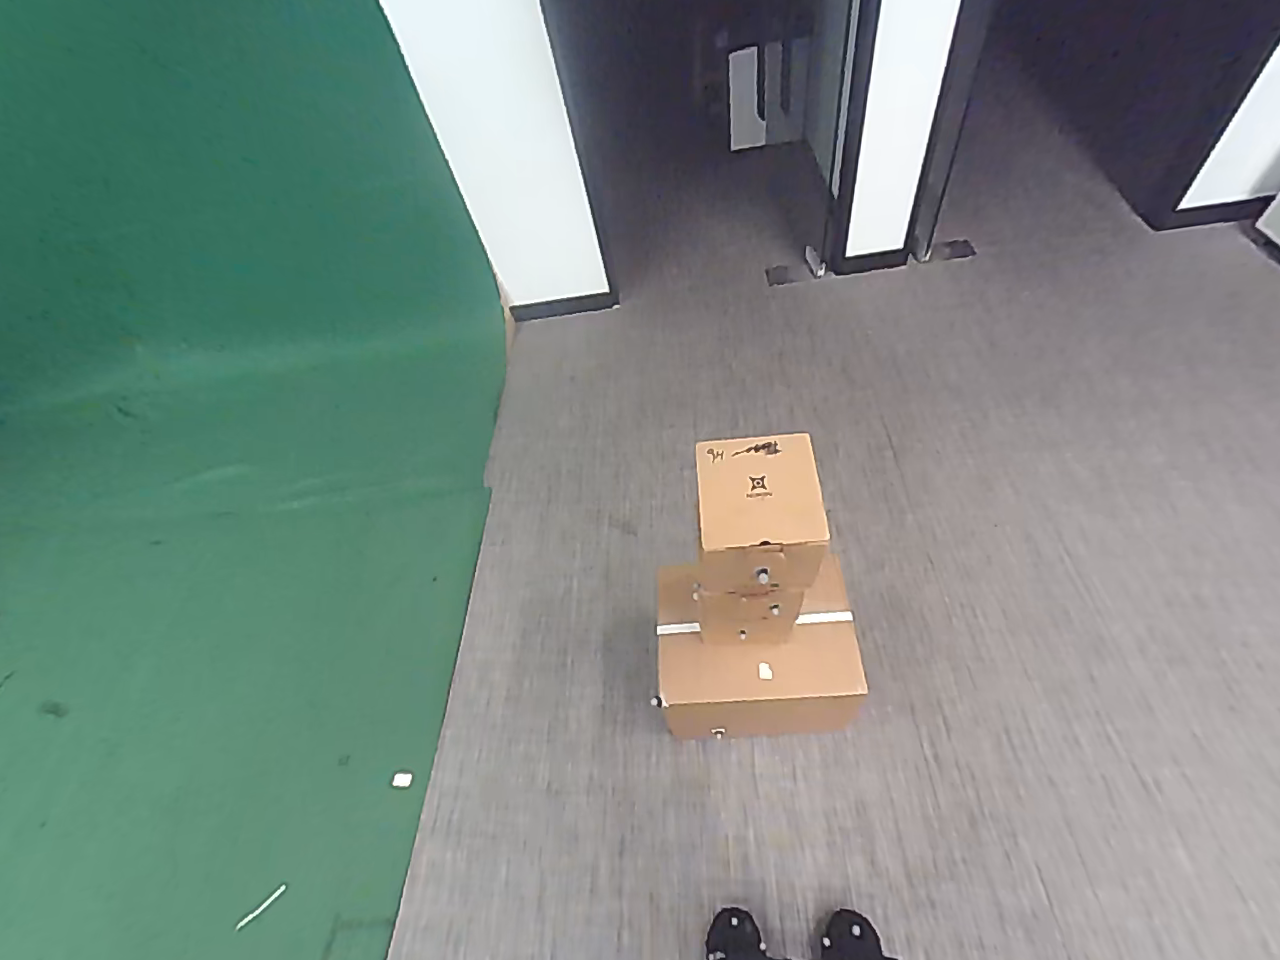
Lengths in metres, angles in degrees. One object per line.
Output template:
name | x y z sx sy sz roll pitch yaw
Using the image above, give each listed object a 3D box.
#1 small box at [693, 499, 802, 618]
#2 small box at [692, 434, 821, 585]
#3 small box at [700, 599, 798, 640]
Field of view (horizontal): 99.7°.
small box | 0.185 0.139 0.958 0.168 0.176 0.179 -5 58 7
small box | 0.170 0.054 0.819 0.168 0.176 0.179 -5 60 8
small box | 0.210 0.221 1.095 0.179 0.176 0.168 -6 60 7
